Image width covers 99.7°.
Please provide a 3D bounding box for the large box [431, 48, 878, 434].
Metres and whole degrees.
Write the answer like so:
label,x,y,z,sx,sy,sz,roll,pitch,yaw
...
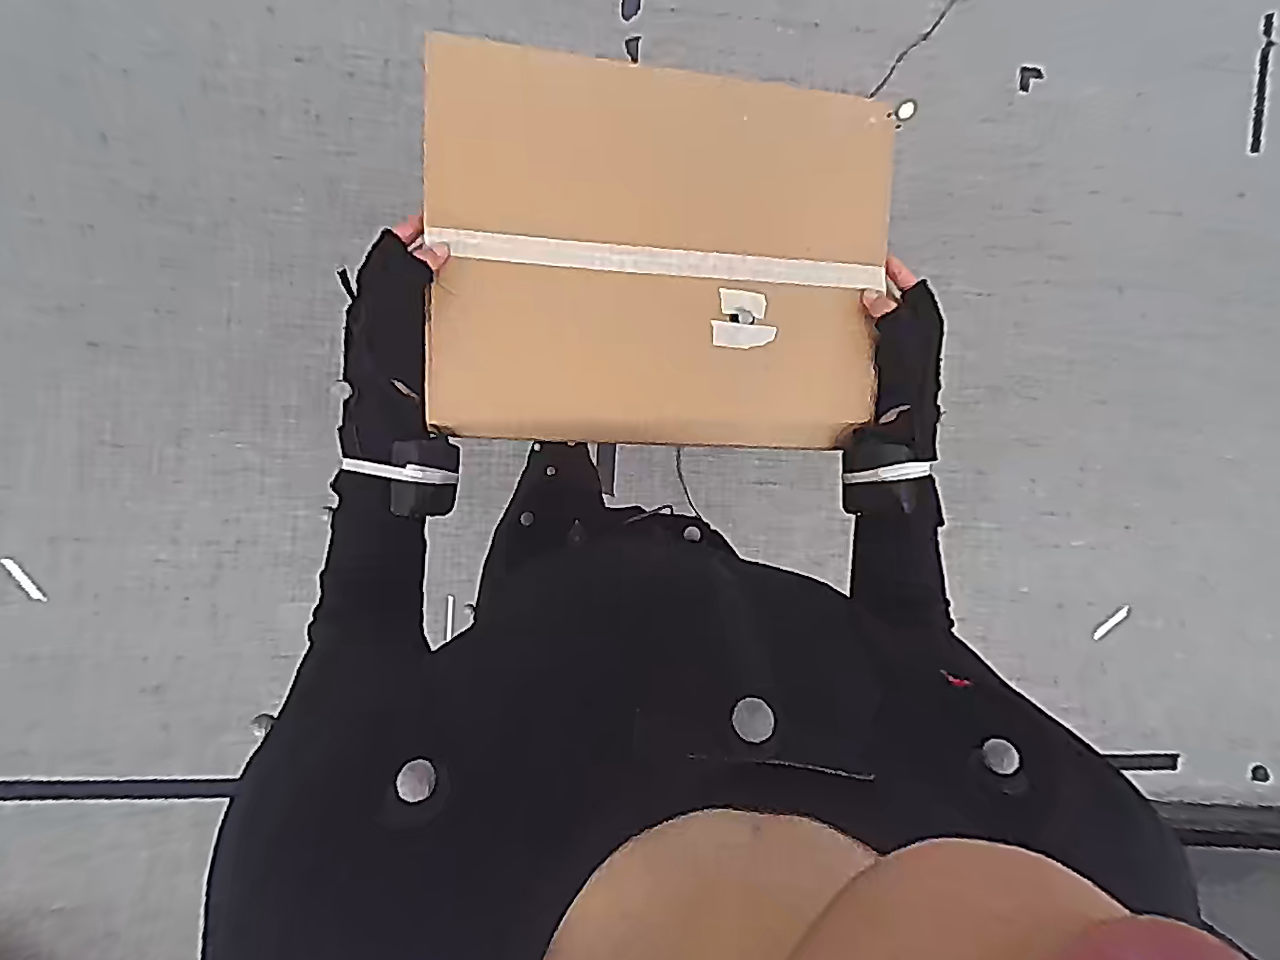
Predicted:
label,x,y,z,sx,sy,sz,roll,pitch,yaw
large box,-0.003,-0.215,0.630,0.408,0.320,0.320,1,97,-10
